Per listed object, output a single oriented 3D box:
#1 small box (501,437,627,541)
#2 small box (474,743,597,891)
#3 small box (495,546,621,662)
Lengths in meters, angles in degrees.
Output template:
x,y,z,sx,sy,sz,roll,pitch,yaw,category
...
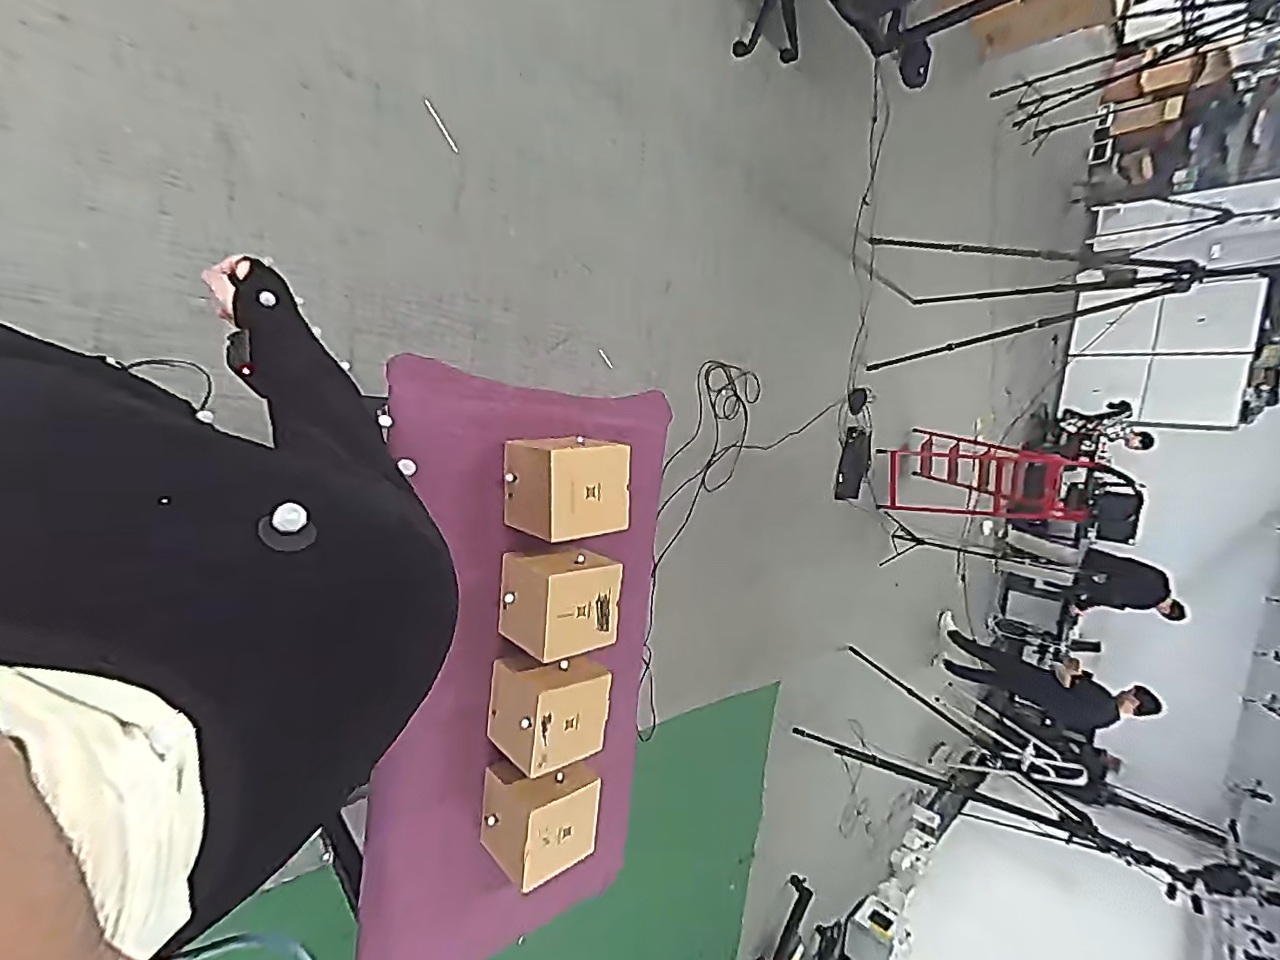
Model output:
x,y,z,sx,sy,sz,roll,pitch,yaw,category
-0.147,0.008,1.036,0.179,0.176,0.168,-6,102,-42,small box
-0.216,0.675,1.112,0.179,0.176,0.168,2,96,-43,small box
-0.164,0.233,1.068,0.179,0.176,0.168,0,99,-42,small box
